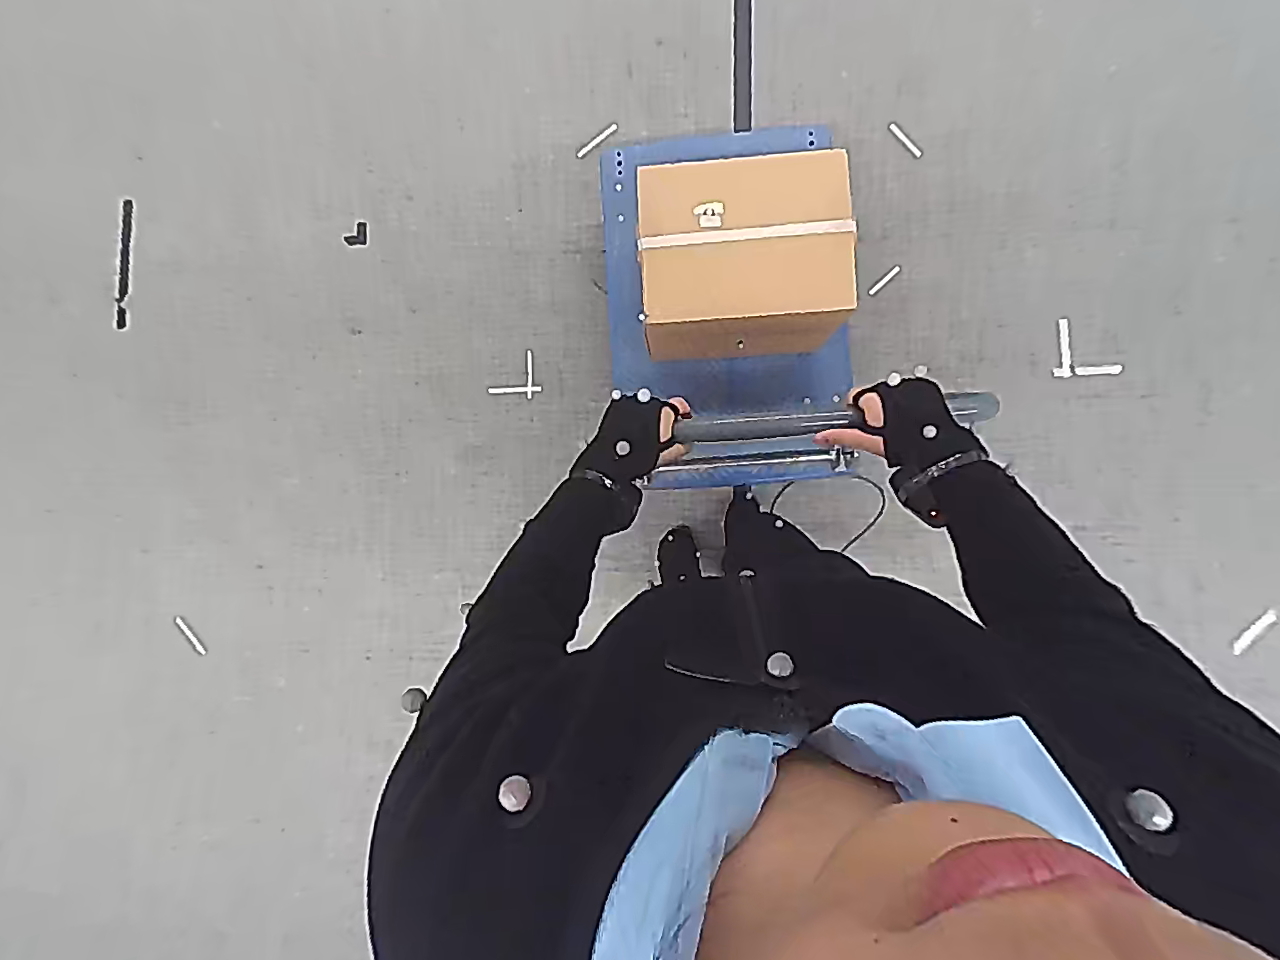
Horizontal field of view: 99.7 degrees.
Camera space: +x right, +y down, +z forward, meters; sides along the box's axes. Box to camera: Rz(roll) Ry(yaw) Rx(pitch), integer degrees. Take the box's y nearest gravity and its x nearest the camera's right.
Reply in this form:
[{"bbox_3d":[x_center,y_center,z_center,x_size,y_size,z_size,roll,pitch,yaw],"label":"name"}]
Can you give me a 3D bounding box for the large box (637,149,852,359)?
[{"bbox_3d":[0.216,-0.471,1.206,0.408,0.320,0.320,-4,87,5],"label":"large box"}]
